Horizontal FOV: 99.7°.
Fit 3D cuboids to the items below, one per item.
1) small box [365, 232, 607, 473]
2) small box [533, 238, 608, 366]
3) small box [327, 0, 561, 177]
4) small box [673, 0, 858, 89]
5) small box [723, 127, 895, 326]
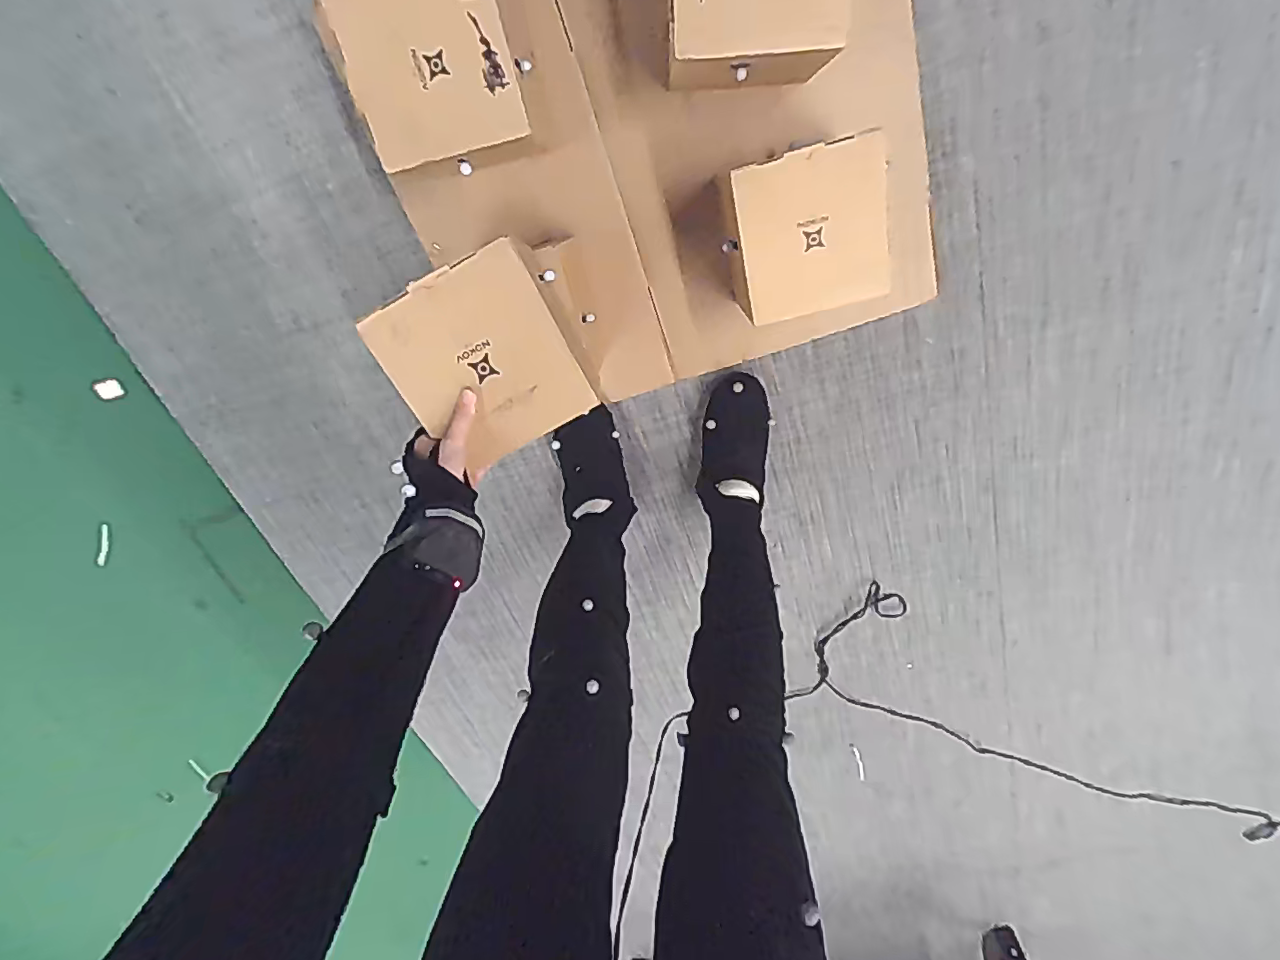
[{"bbox_3d":[-0.148,-0.138,0.584,0.168,0.176,0.179,-27,109,5],"label":"small box"},{"bbox_3d":[-0.148,-0.222,0.750,0.168,0.176,0.179,-11,116,8],"label":"small box"},{"bbox_3d":[-0.208,-0.465,0.629,0.179,0.176,0.168,-10,116,8],"label":"small box"},{"bbox_3d":[0.123,-0.532,0.572,0.179,0.176,0.168,-2,117,2],"label":"small box"},{"bbox_3d":[0.205,-0.315,0.682,0.168,0.176,0.179,-12,115,9],"label":"small box"}]
